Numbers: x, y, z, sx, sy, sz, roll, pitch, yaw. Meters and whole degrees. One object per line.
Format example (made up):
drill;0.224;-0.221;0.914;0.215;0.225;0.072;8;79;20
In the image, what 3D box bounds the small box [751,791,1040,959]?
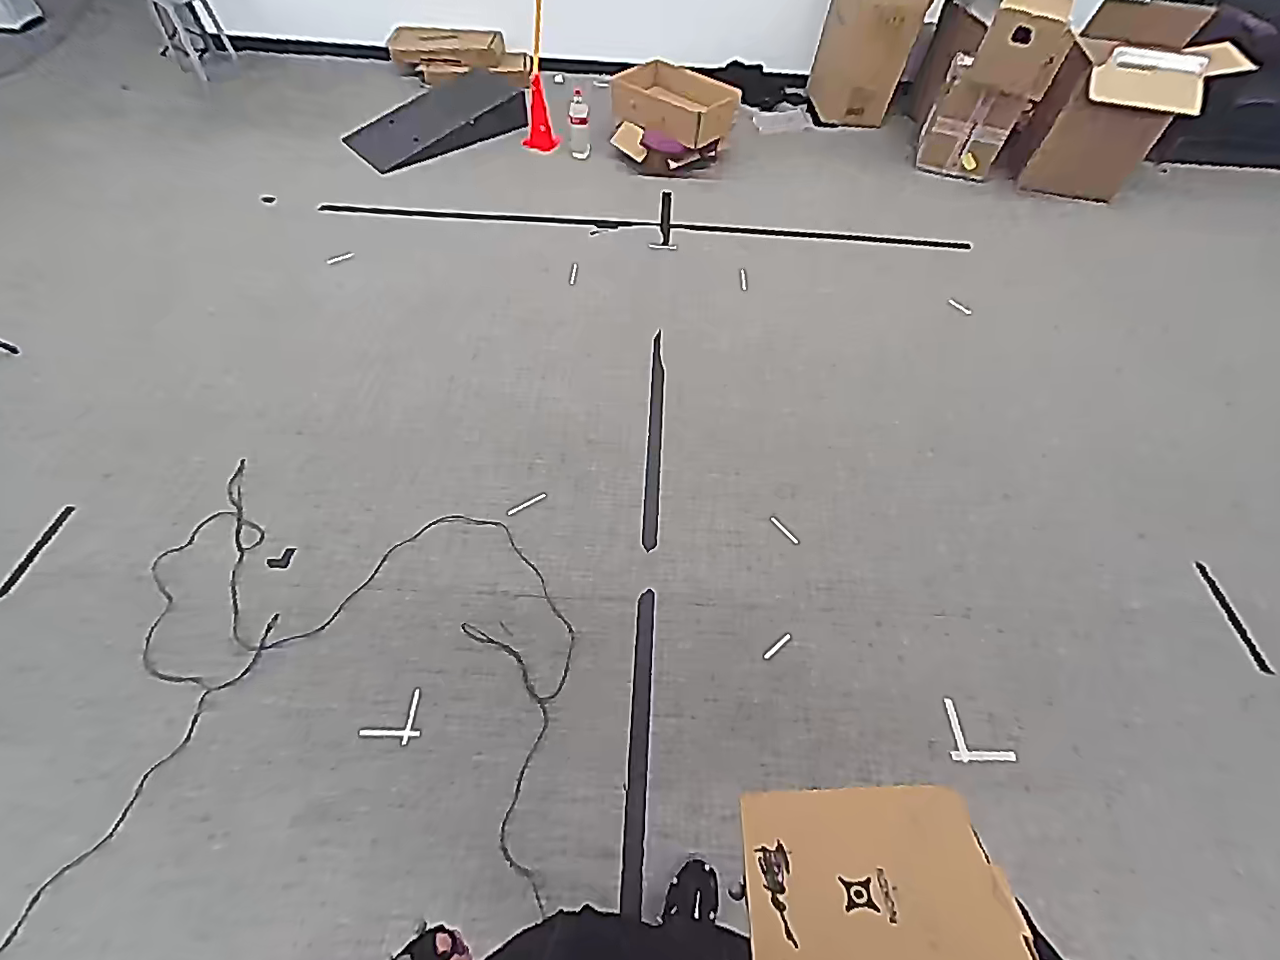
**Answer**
small box;0.185;0.374;0.417;0.179;0.176;0.168;-7;20;9
